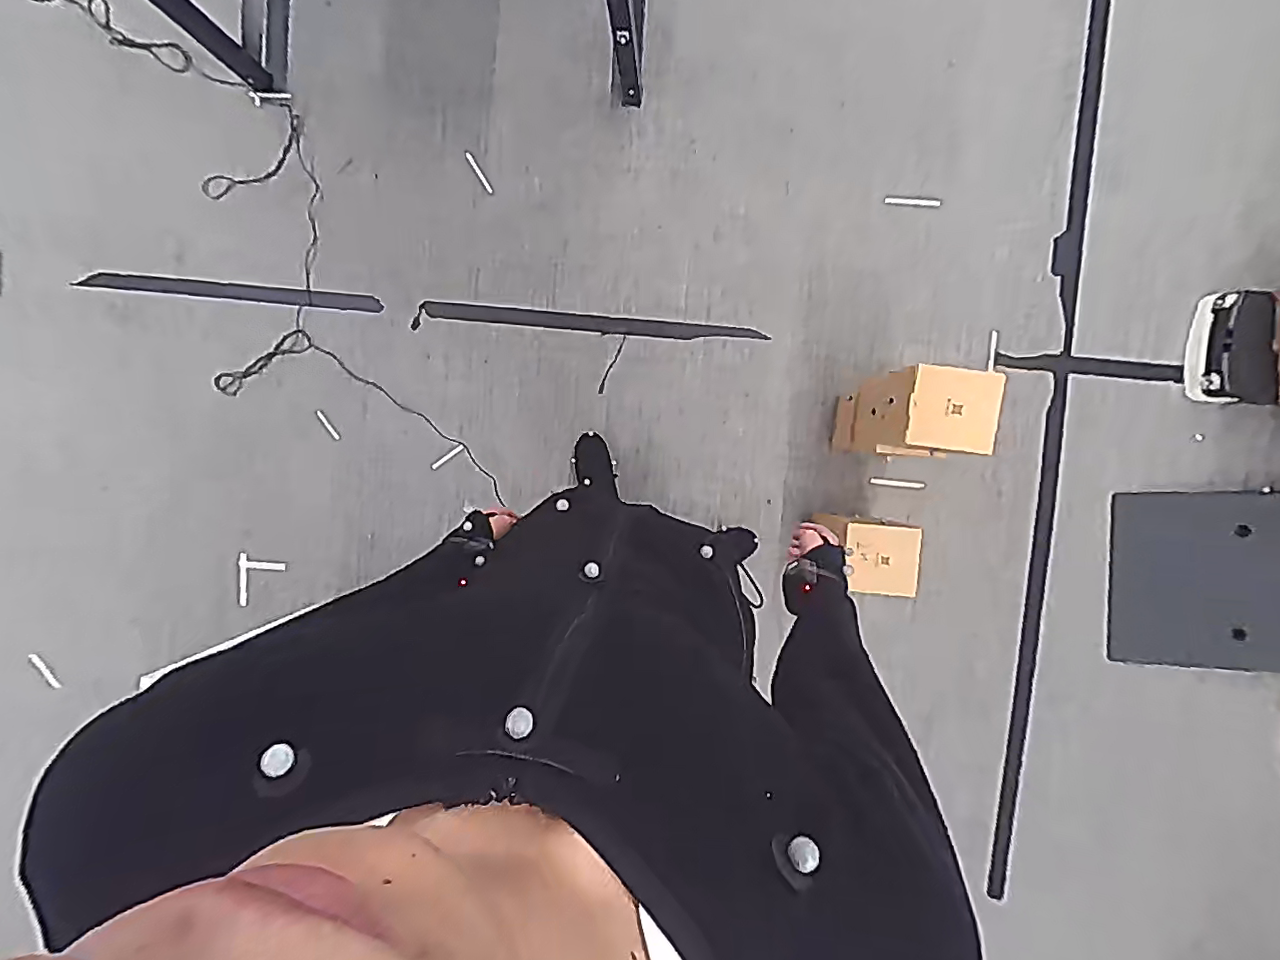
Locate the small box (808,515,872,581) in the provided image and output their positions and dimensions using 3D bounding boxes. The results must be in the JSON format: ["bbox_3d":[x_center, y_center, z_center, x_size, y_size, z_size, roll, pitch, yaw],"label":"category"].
[{"bbox_3d":[0.584,0.191,1.518,0.179,0.176,0.168,4,92,5],"label":"small box"}]

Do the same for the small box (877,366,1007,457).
[{"bbox_3d":[0.639,-0.145,1.164,0.179,0.176,0.168,8,94,4],"label":"small box"}]

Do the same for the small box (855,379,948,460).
[{"bbox_3d":[0.643,-0.145,1.327,0.168,0.176,0.179,6,95,4],"label":"small box"}]

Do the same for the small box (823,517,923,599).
[{"bbox_3d":[0.576,0.188,1.353,0.179,0.176,0.168,5,92,4],"label":"small box"}]
